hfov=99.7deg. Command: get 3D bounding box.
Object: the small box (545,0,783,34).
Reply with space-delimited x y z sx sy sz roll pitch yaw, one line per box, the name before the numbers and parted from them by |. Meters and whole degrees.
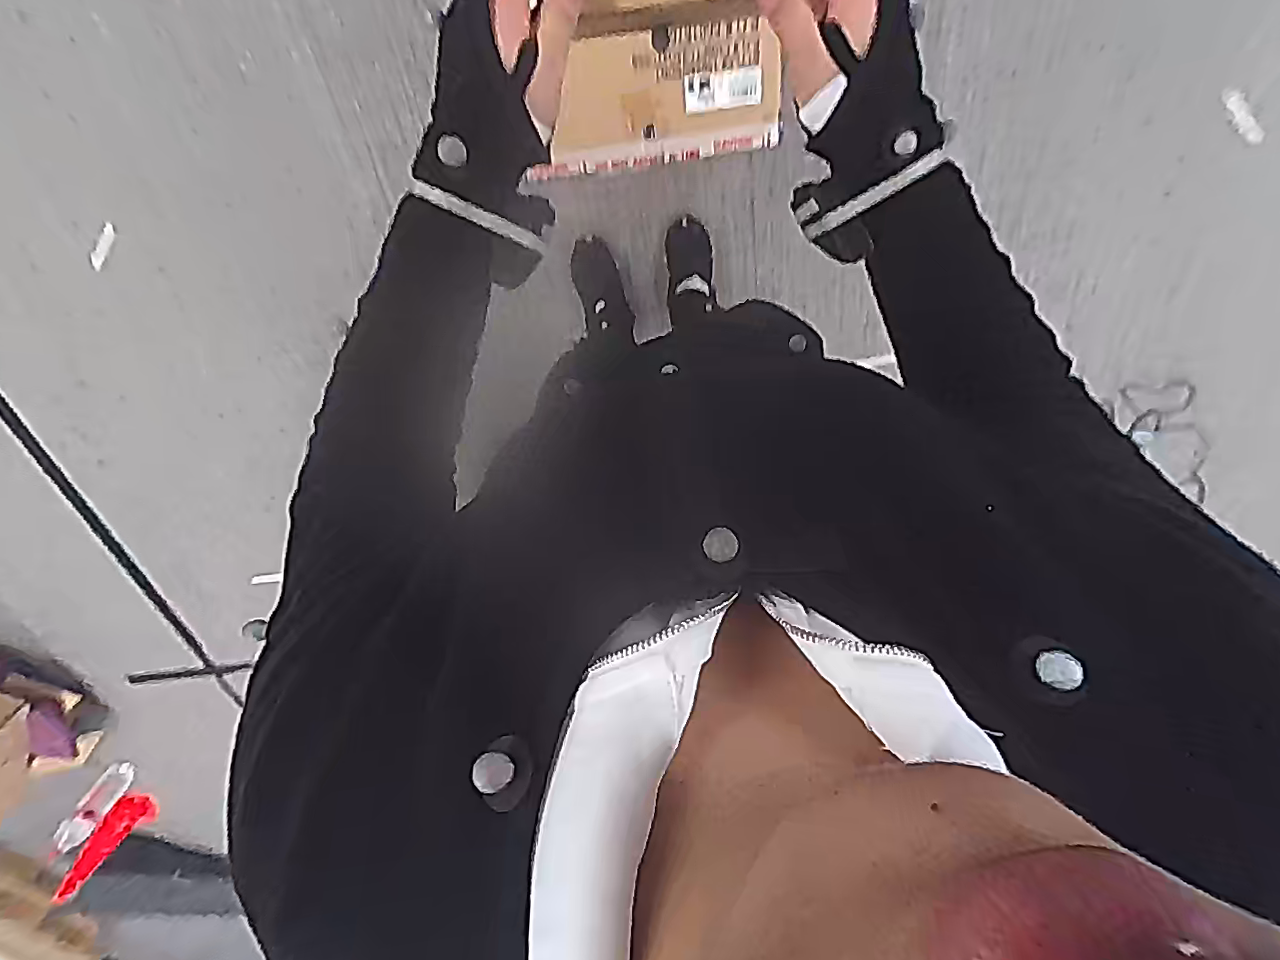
small box | 0.017 -0.404 0.337 0.168 0.176 0.179 -3 126 4
